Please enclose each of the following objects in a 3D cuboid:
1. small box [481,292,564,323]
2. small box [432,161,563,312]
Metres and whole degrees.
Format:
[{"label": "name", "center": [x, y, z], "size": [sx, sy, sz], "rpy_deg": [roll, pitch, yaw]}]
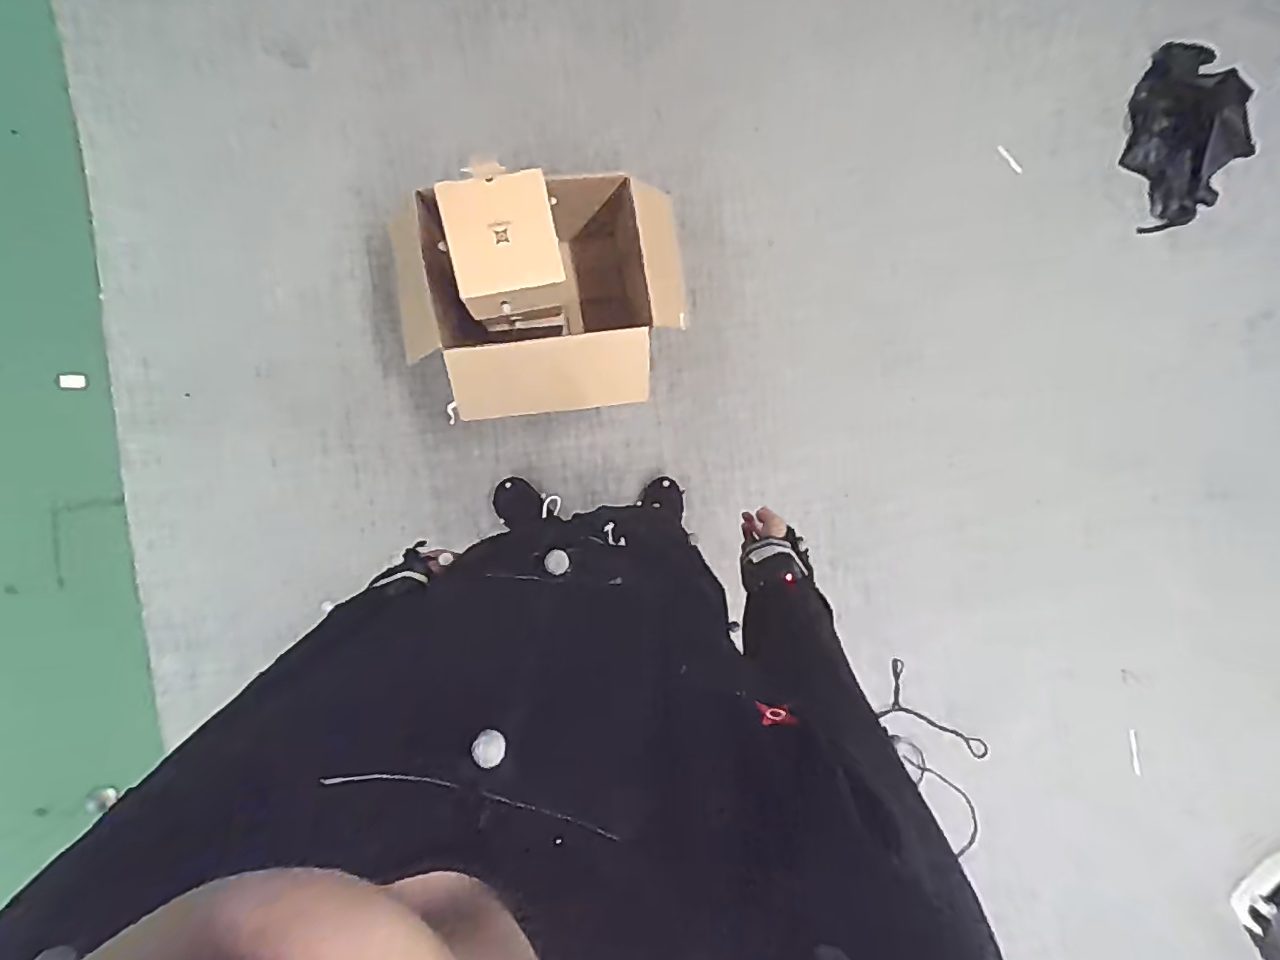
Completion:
[{"label": "small box", "center": [-0.248, -0.419, 1.052], "size": [0.168, 0.176, 0.179], "rpy_deg": [-11, 97, -8]}, {"label": "small box", "center": [-0.223, -0.388, 0.895], "size": [0.168, 0.176, 0.179], "rpy_deg": [-14, 96, -7]}]
